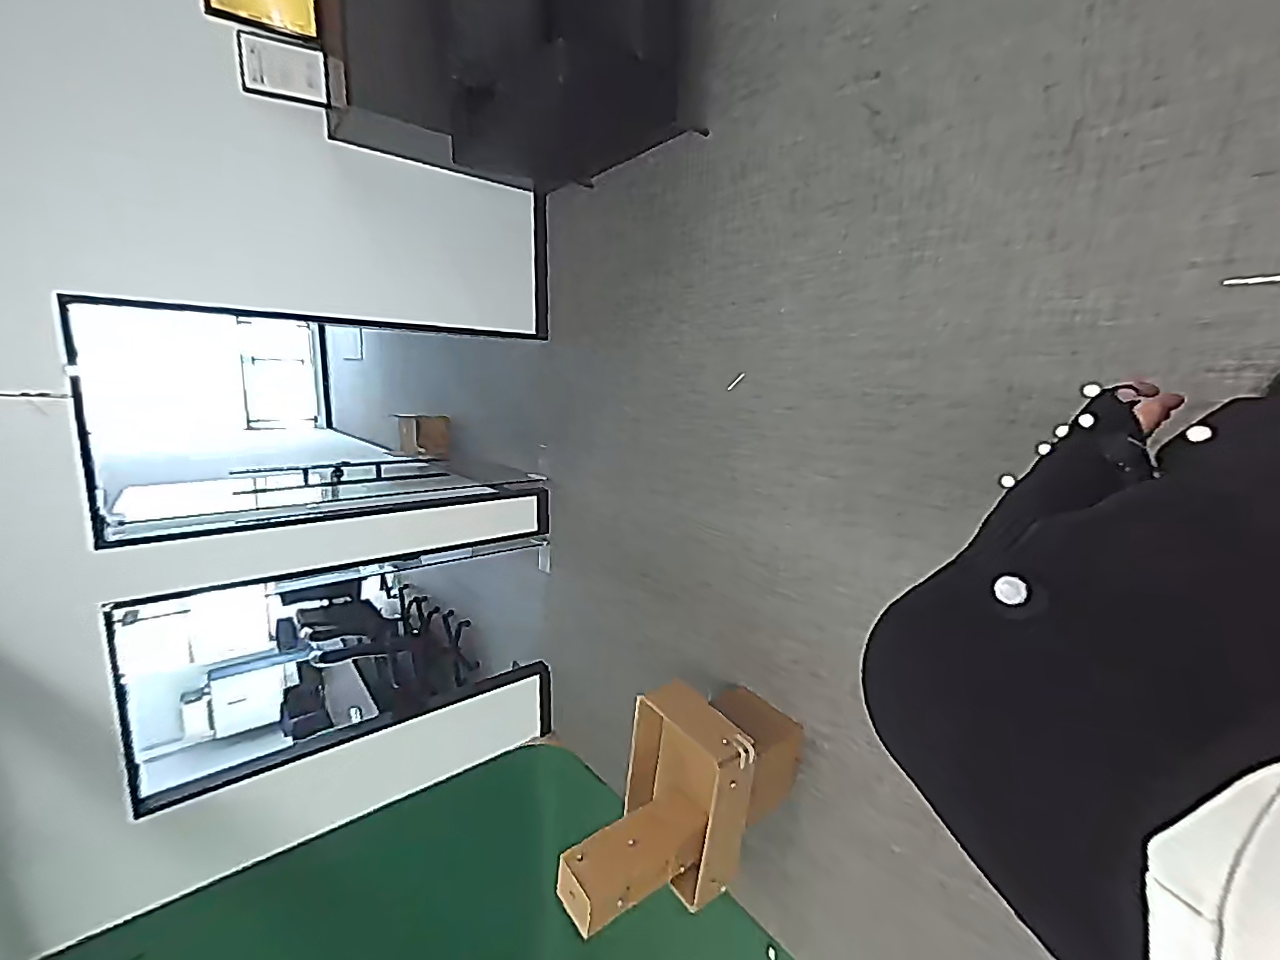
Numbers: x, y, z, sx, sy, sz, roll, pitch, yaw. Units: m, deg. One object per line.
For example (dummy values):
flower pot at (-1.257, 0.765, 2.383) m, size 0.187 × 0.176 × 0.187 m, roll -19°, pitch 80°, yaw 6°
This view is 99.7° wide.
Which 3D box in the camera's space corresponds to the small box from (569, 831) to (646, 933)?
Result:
small box at (-0.106, 1.271, 1.730) m, size 0.179 × 0.176 × 0.168 m, roll 25°, pitch 116°, yaw 45°

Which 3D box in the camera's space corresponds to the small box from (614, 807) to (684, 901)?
small box at (0.023, 1.252, 1.832) m, size 0.179 × 0.176 × 0.168 m, roll 24°, pitch 115°, yaw 45°
